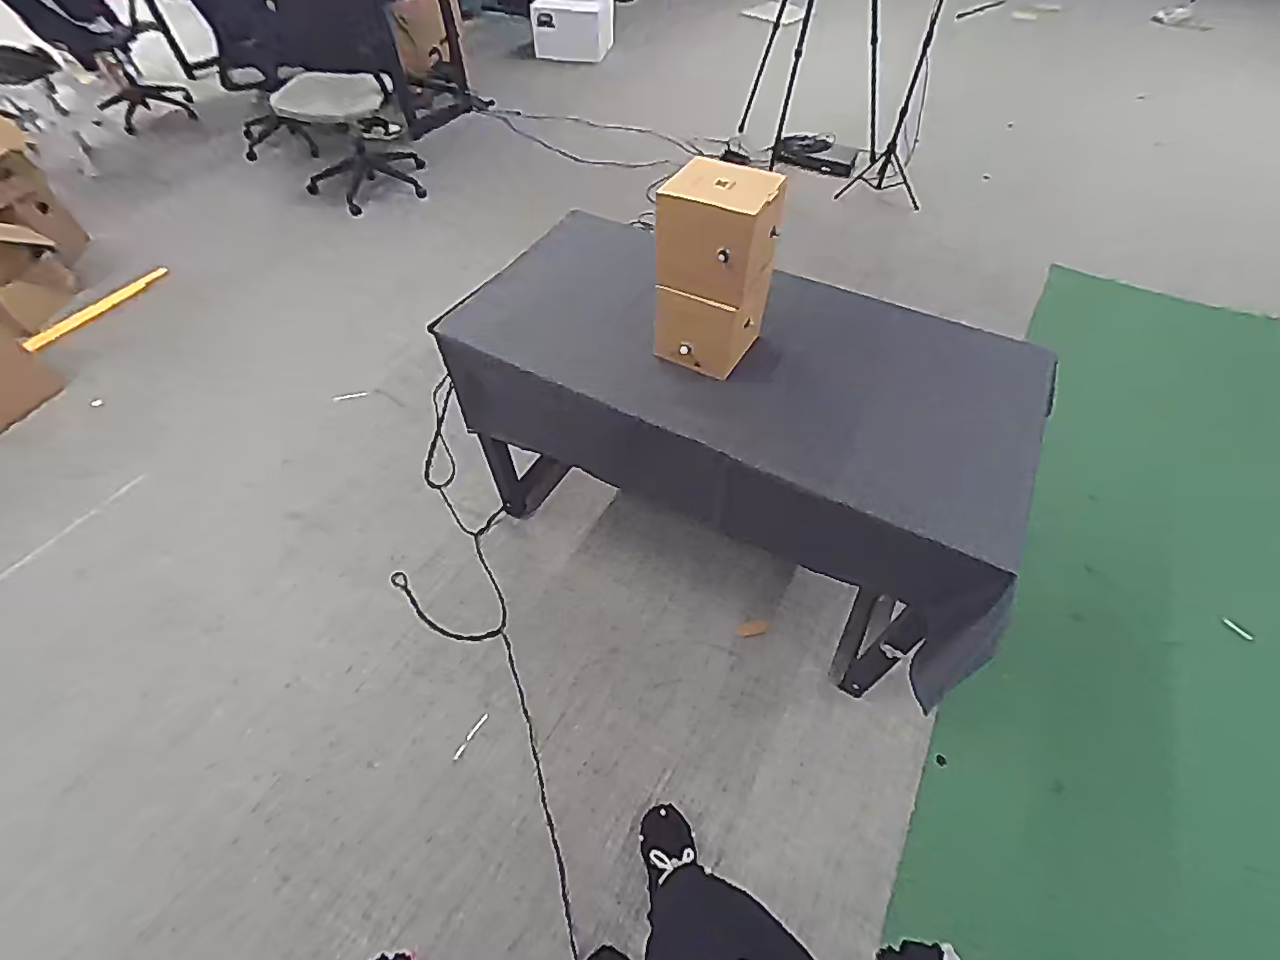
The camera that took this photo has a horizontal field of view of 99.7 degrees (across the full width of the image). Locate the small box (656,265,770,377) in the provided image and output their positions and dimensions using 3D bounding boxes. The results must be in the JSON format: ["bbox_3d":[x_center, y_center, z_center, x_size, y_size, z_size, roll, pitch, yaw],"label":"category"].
[{"bbox_3d":[0.140,-0.341,1.091,0.168,0.176,0.179,25,57,19],"label":"small box"}]

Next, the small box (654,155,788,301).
[{"bbox_3d":[0.138,-0.445,0.965,0.179,0.176,0.168,23,55,17],"label":"small box"}]
